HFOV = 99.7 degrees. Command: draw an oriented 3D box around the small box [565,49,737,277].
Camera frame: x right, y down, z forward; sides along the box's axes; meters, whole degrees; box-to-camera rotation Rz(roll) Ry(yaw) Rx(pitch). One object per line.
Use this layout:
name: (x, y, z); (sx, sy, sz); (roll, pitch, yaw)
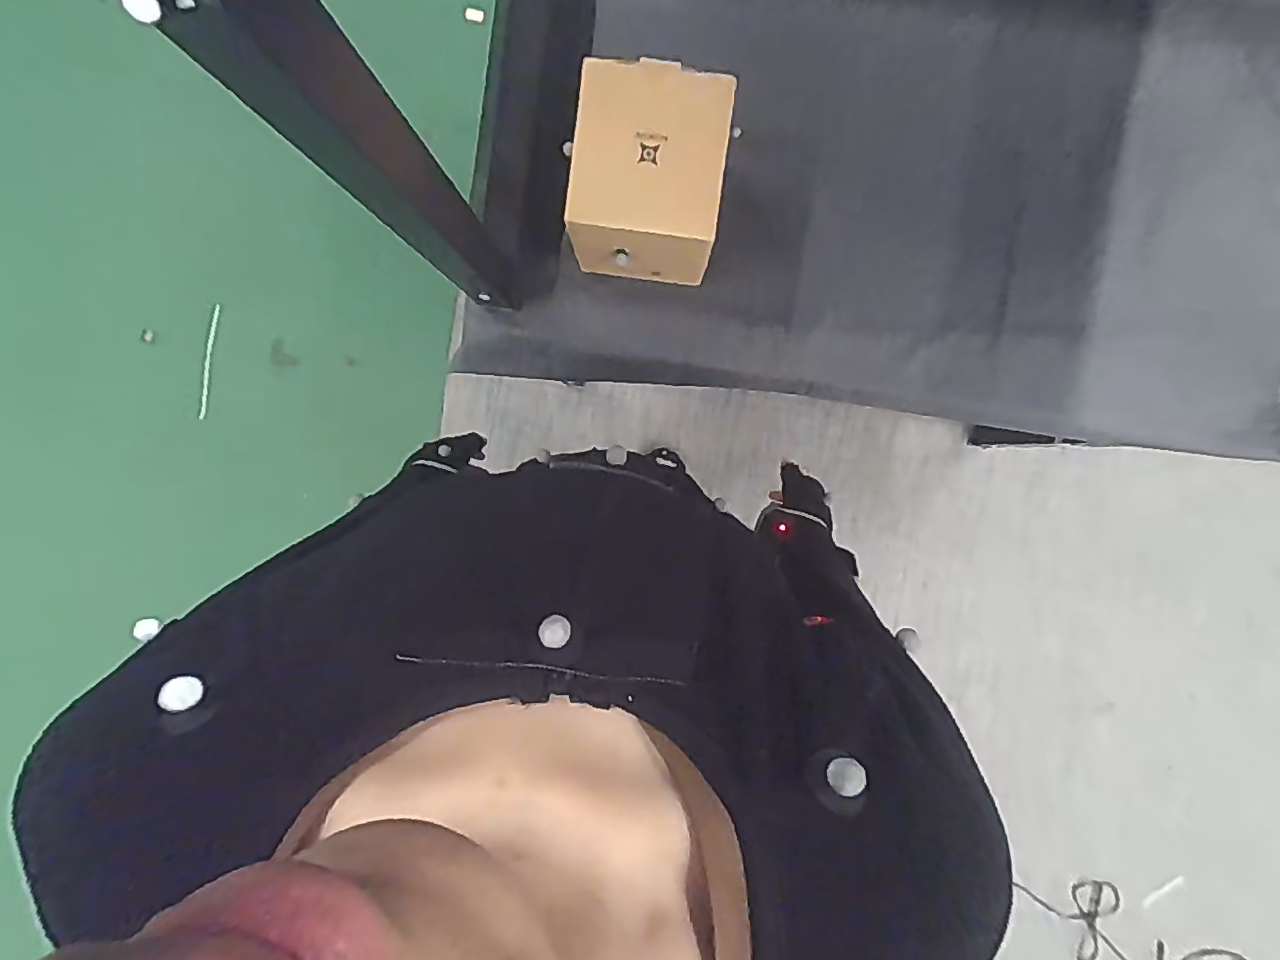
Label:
small box: (0.013, -0.360, 0.649); (0.168, 0.176, 0.179); (7, 93, 0)
